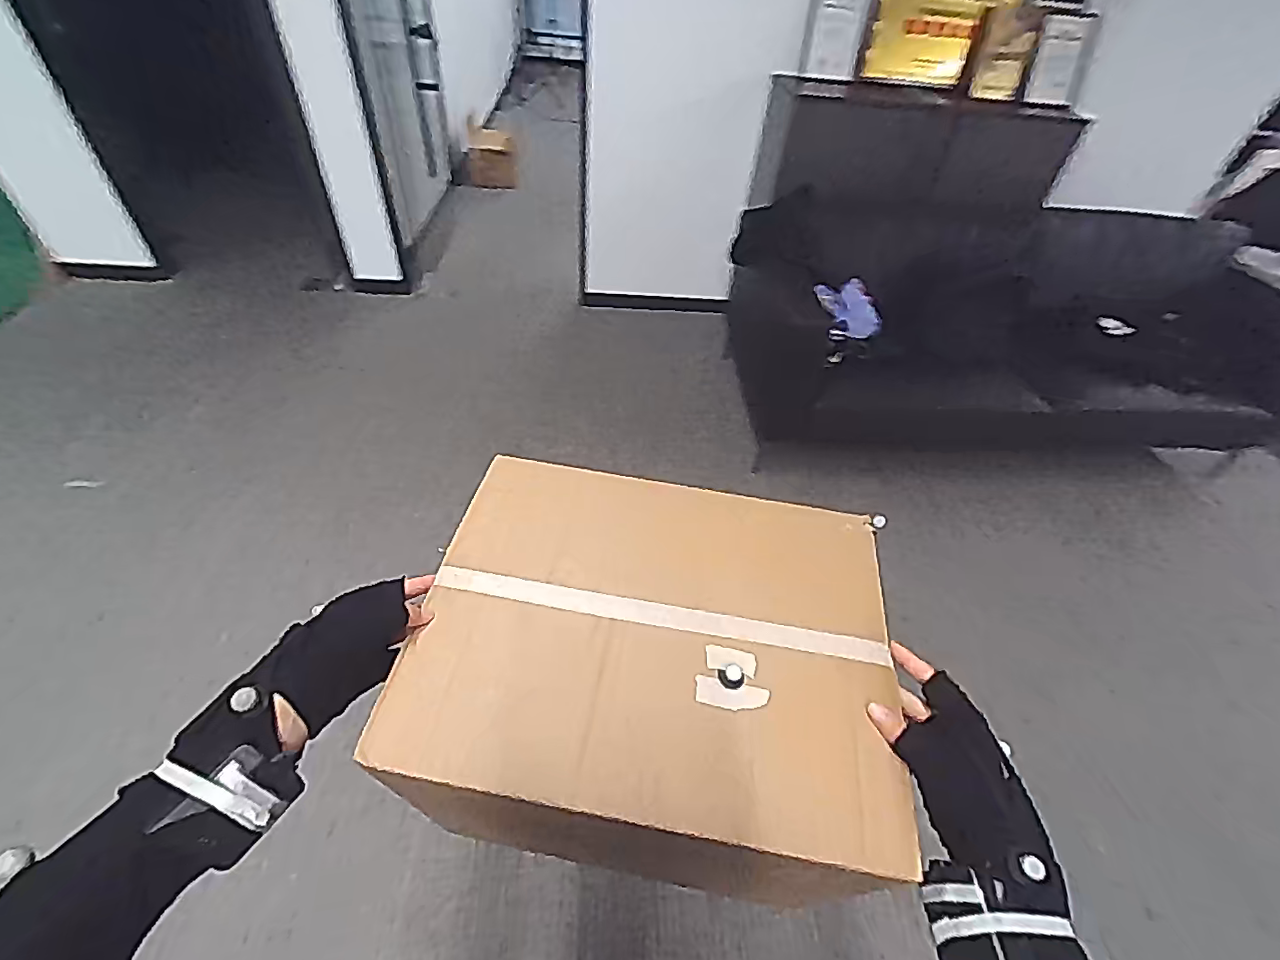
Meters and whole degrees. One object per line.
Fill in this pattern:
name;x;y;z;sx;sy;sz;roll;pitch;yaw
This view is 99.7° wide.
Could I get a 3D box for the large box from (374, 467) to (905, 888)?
large box;0.005;0.221;0.602;0.408;0.320;0.320;8;50;3
